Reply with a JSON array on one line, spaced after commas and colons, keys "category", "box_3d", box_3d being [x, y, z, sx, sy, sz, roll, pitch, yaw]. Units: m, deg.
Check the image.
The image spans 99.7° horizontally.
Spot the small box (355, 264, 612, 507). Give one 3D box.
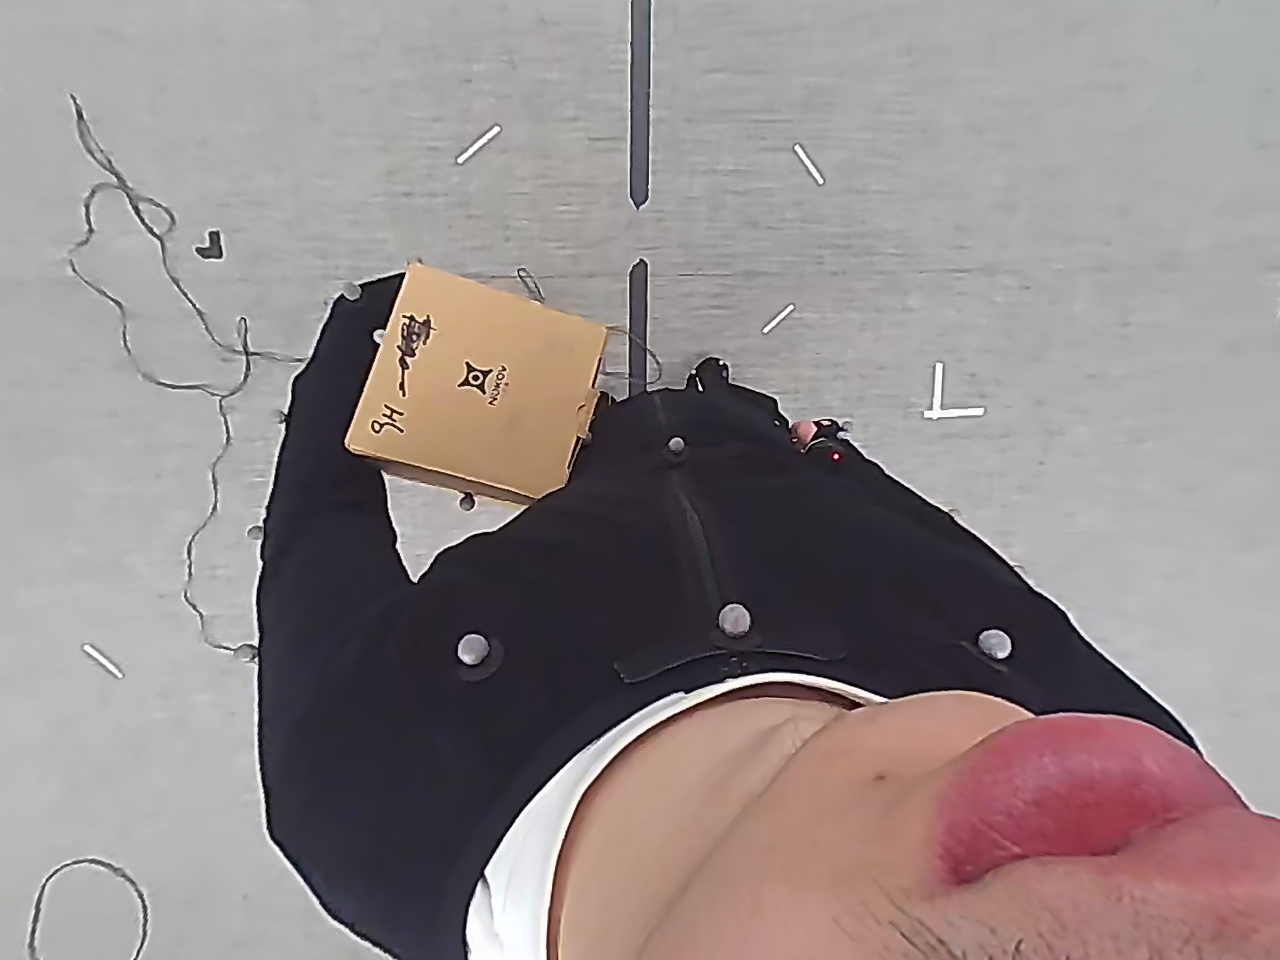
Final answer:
[{"category": "small box", "box_3d": [-0.144, -0.073, 0.533, 0.179, 0.176, 0.168, 16, 79, -11]}]
